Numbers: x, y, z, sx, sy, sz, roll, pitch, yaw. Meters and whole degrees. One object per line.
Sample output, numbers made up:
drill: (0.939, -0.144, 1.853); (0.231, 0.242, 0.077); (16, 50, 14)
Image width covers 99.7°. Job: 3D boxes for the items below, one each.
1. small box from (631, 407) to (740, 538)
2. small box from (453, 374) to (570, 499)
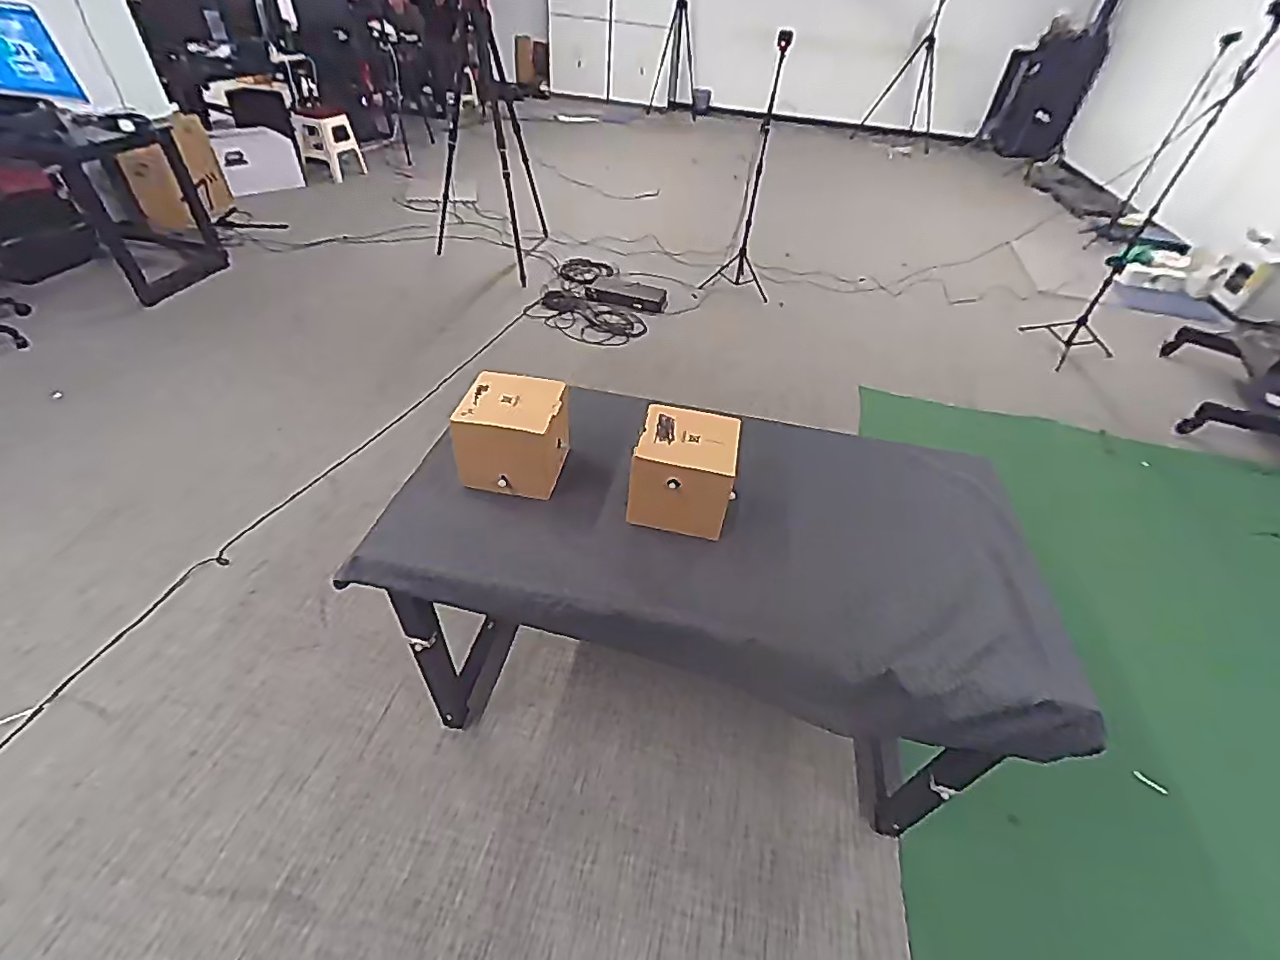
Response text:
small box: (0.083, -0.012, 1.022); (0.179, 0.176, 0.168); (11, 43, 5)
small box: (-0.241, -0.083, 1.062); (0.179, 0.176, 0.168); (10, 43, 3)
